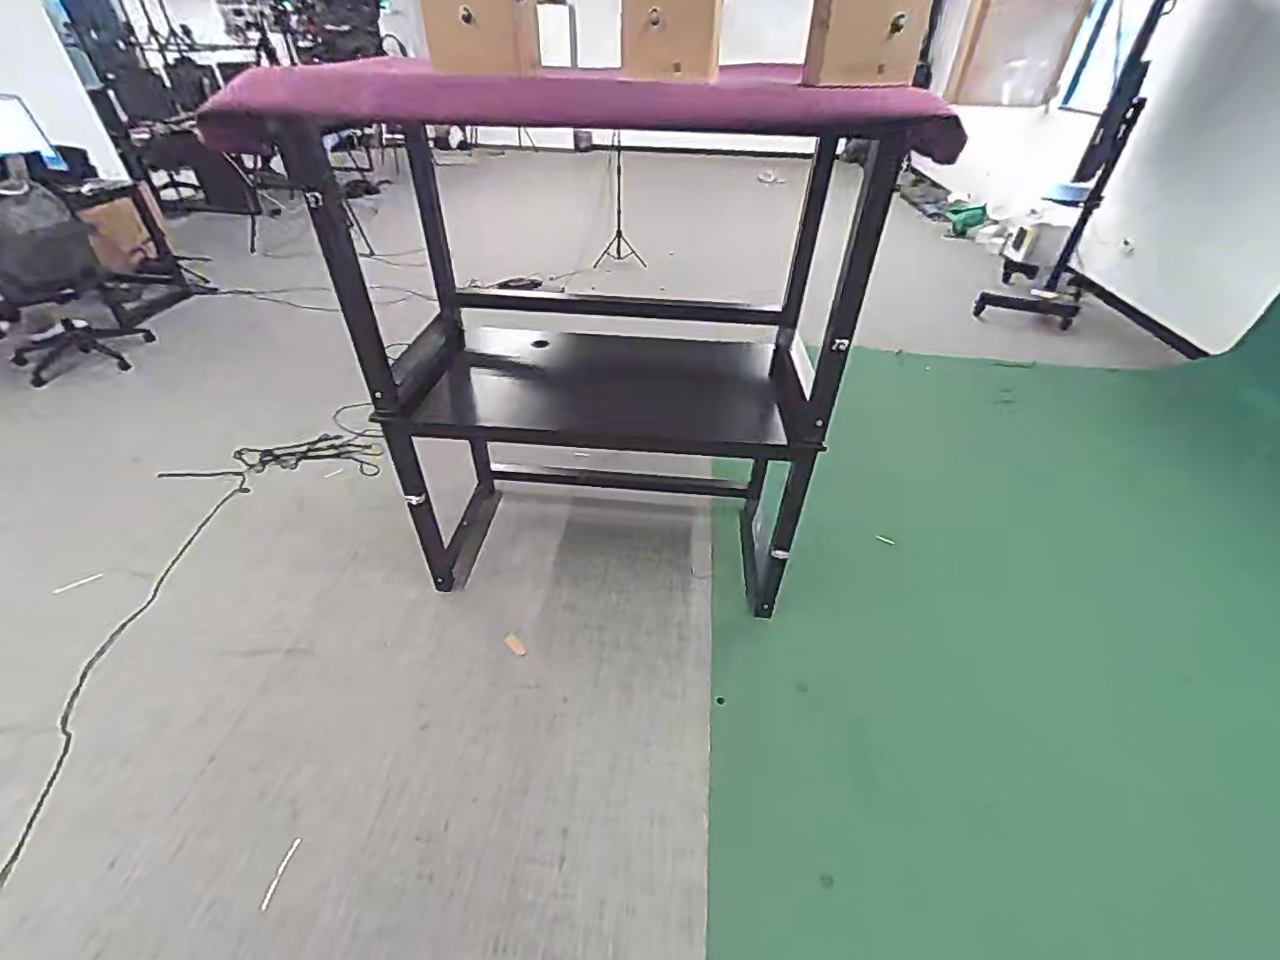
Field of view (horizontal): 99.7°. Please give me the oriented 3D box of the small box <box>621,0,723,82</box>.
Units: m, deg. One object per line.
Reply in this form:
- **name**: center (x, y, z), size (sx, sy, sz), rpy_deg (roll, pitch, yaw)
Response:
- **small box**: center (0.063, -0.838, 0.993), size (0.168, 0.176, 0.179), rpy_deg (8, 38, 7)

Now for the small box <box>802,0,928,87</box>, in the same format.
- **small box**: center (0.404, -0.820, 0.980), size (0.168, 0.176, 0.179), rpy_deg (3, 37, 2)
